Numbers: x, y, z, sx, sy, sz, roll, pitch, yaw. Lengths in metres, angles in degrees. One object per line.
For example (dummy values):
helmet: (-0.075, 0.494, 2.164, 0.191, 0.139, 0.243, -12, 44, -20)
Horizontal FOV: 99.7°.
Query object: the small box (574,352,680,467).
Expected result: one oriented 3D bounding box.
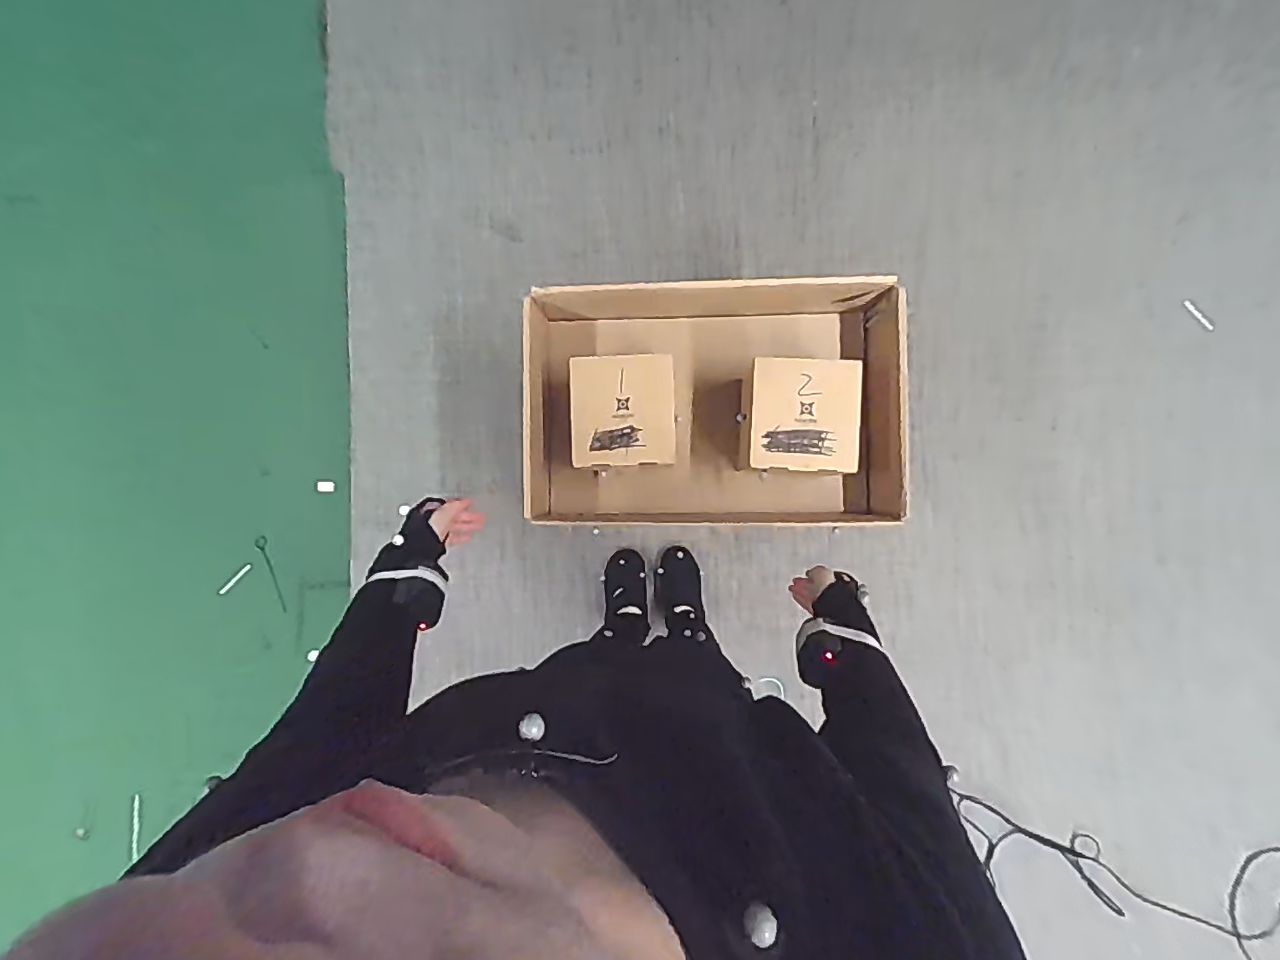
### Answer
small box: (-0.016, -0.110, 0.923, 0.168, 0.176, 0.179, -1, 89, 4)
